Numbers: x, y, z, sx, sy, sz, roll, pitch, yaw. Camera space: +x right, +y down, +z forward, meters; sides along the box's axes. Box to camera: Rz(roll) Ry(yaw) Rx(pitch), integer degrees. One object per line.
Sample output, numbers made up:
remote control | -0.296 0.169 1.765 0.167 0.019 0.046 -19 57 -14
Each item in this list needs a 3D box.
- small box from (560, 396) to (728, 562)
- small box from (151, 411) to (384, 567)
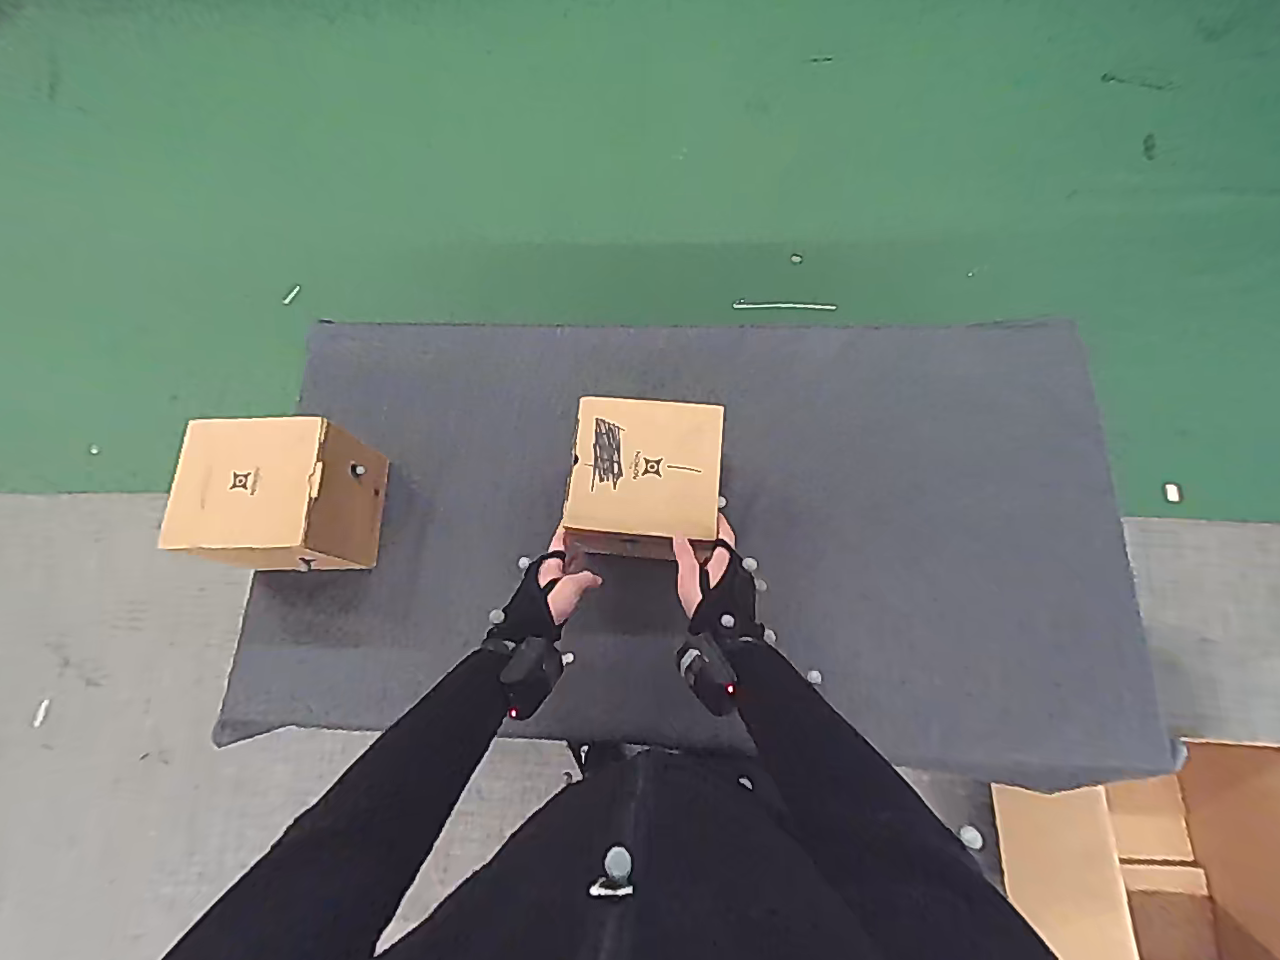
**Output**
small box | 0.011 0.007 0.701 0.179 0.176 0.168 8 75 6
small box | -0.465 0.019 0.709 0.179 0.176 0.168 -2 72 3
